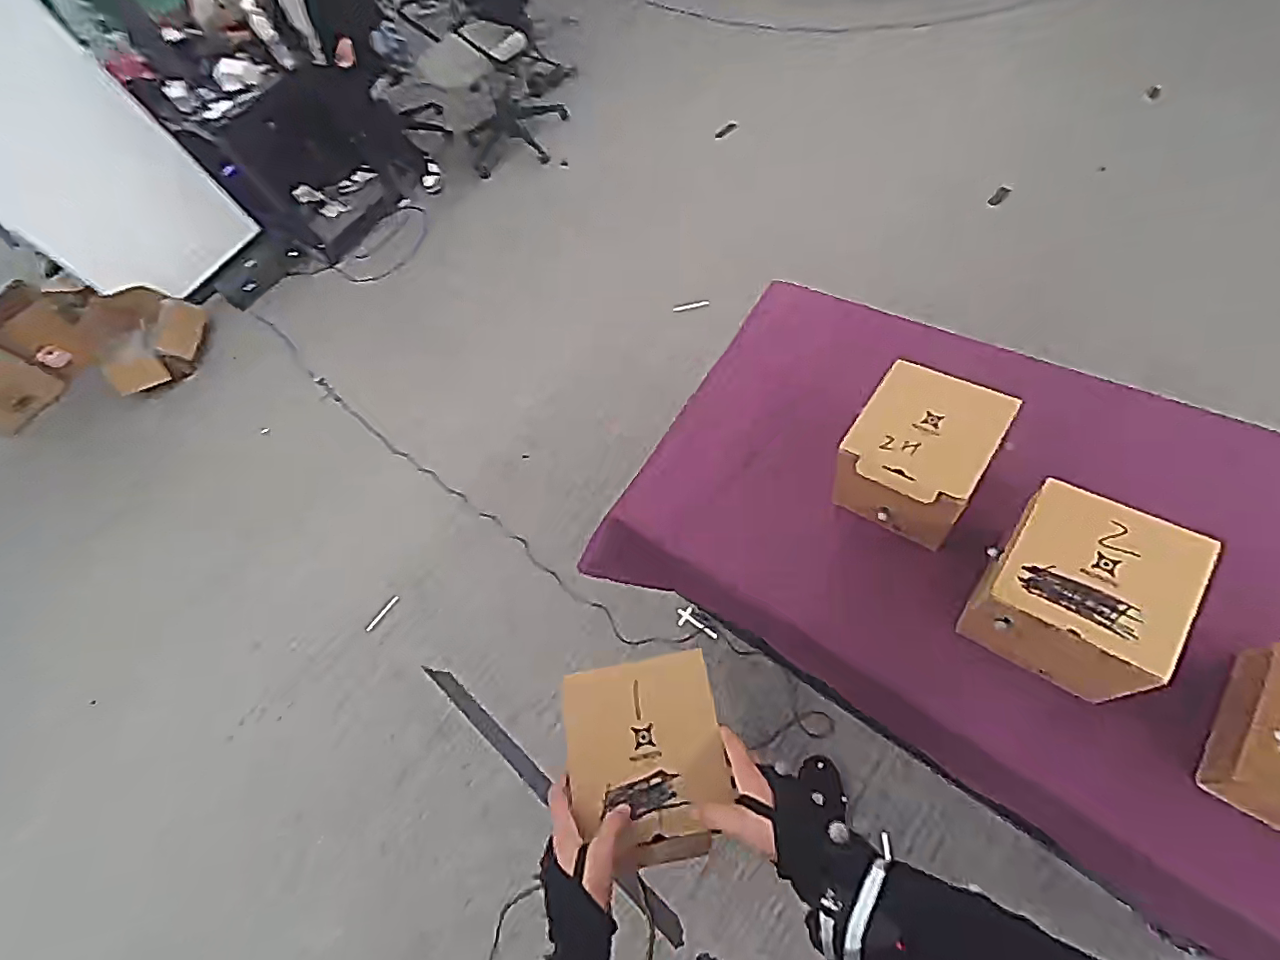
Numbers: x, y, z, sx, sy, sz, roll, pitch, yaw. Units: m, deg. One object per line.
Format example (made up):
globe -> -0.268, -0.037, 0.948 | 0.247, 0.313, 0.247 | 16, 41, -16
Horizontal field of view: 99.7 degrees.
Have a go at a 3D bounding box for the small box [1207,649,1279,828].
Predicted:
small box -> 0.719, 0.270, 0.524 | 0.168, 0.176, 0.179 | 28, 73, 28

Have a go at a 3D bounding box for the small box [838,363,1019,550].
small box -> 0.400, -0.030, 0.783 | 0.168, 0.176, 0.179 | 29, 74, 29

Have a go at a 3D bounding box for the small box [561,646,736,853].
small box -> 0.011, 0.313, 0.642 | 0.168, 0.176, 0.179 | -11, 62, -1
